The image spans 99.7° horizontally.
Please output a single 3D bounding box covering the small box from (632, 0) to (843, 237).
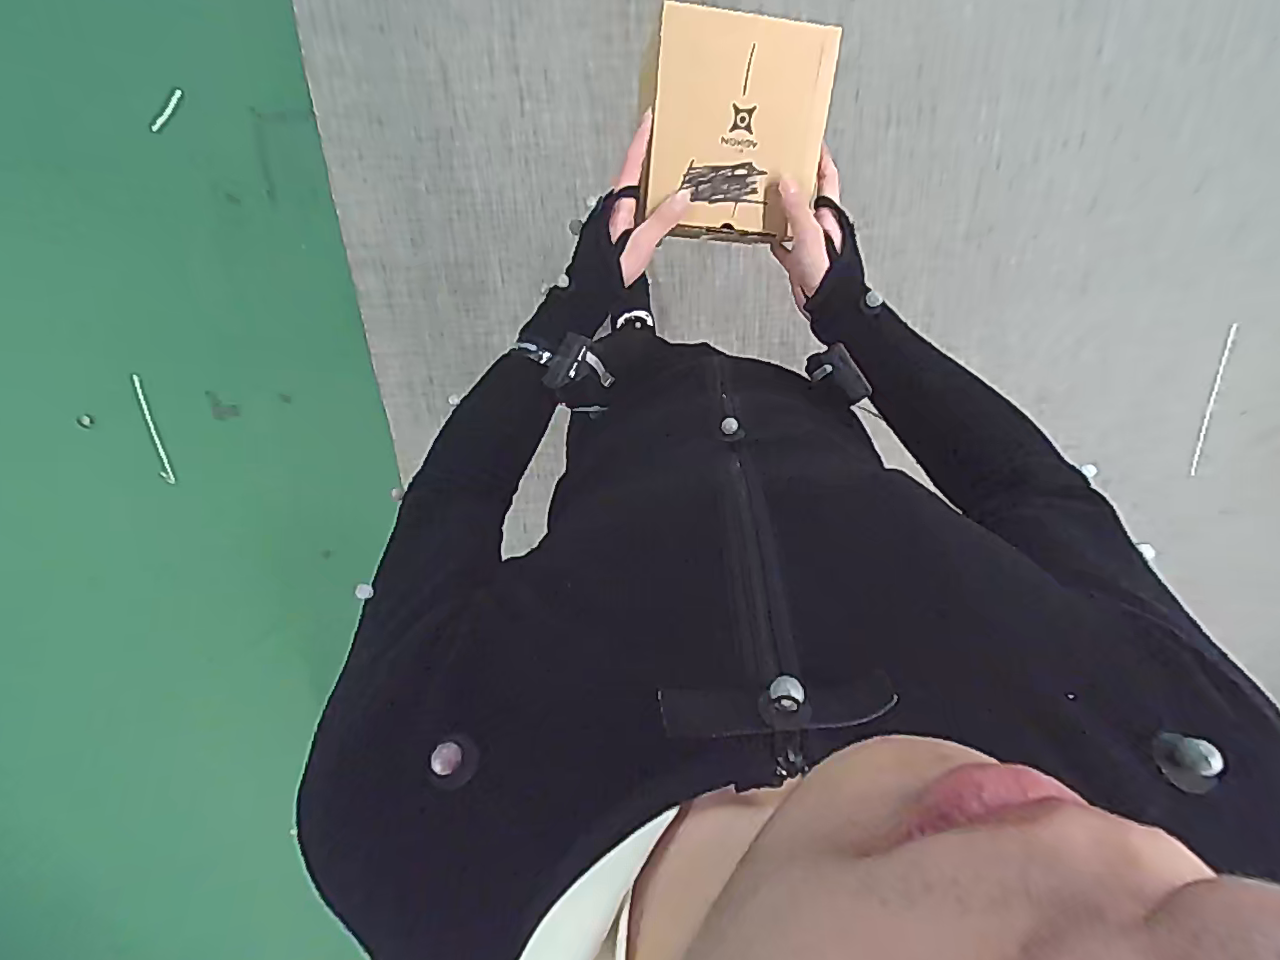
[{"bbox_3d":[0.084,-0.360,0.571,0.168,0.176,0.179,2,111,-8],"label":"small box"}]
